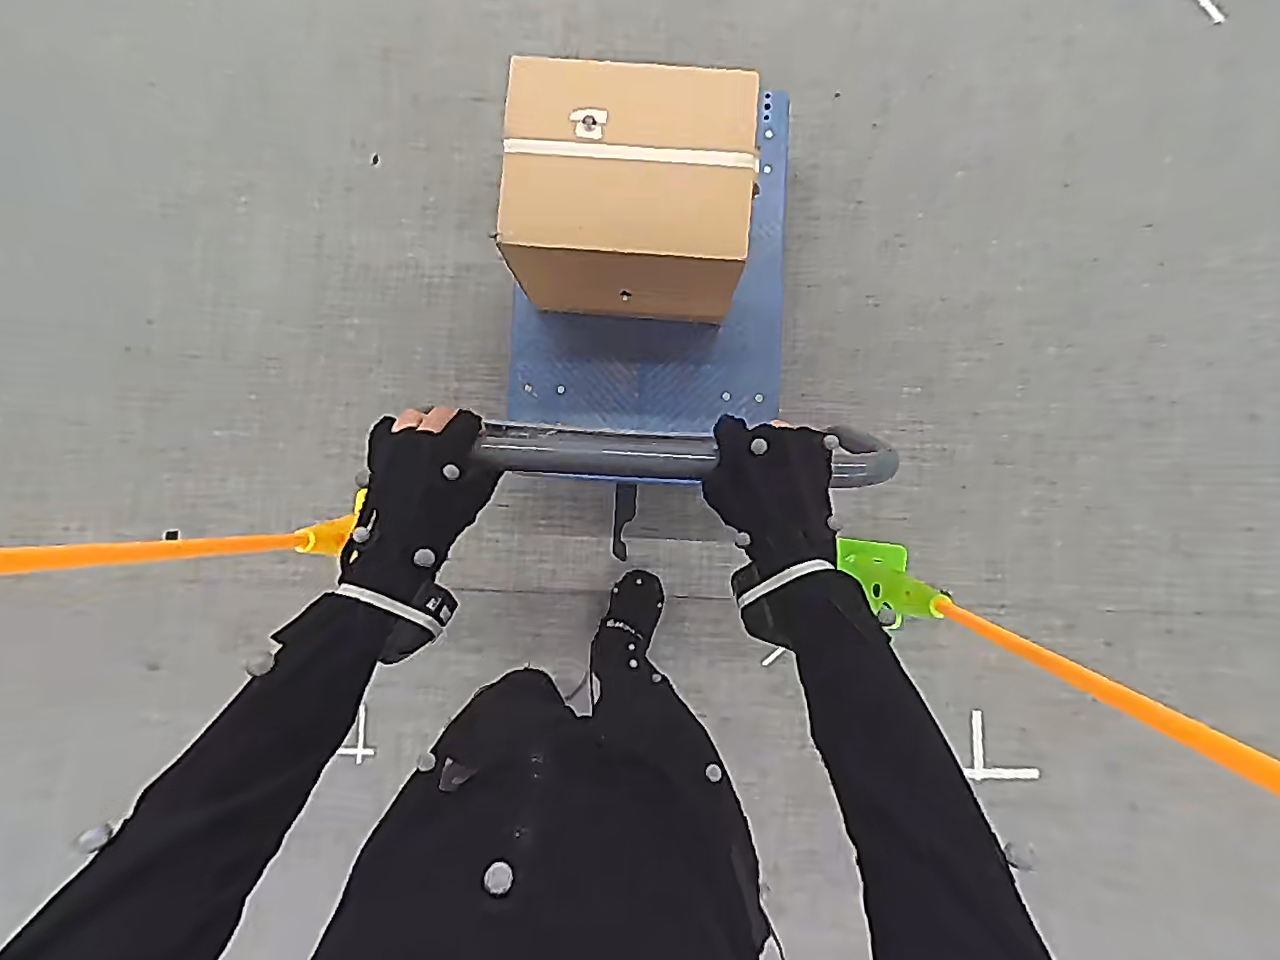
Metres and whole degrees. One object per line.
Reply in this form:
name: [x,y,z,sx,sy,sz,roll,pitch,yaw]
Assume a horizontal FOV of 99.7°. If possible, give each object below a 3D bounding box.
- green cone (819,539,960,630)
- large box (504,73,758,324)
green cone: [0.531,0.238,1.116,0.202,0.368,0.200,7,87,0]
large box: [-0.009,-0.500,1.026,0.408,0.320,0.320,5,88,2]
